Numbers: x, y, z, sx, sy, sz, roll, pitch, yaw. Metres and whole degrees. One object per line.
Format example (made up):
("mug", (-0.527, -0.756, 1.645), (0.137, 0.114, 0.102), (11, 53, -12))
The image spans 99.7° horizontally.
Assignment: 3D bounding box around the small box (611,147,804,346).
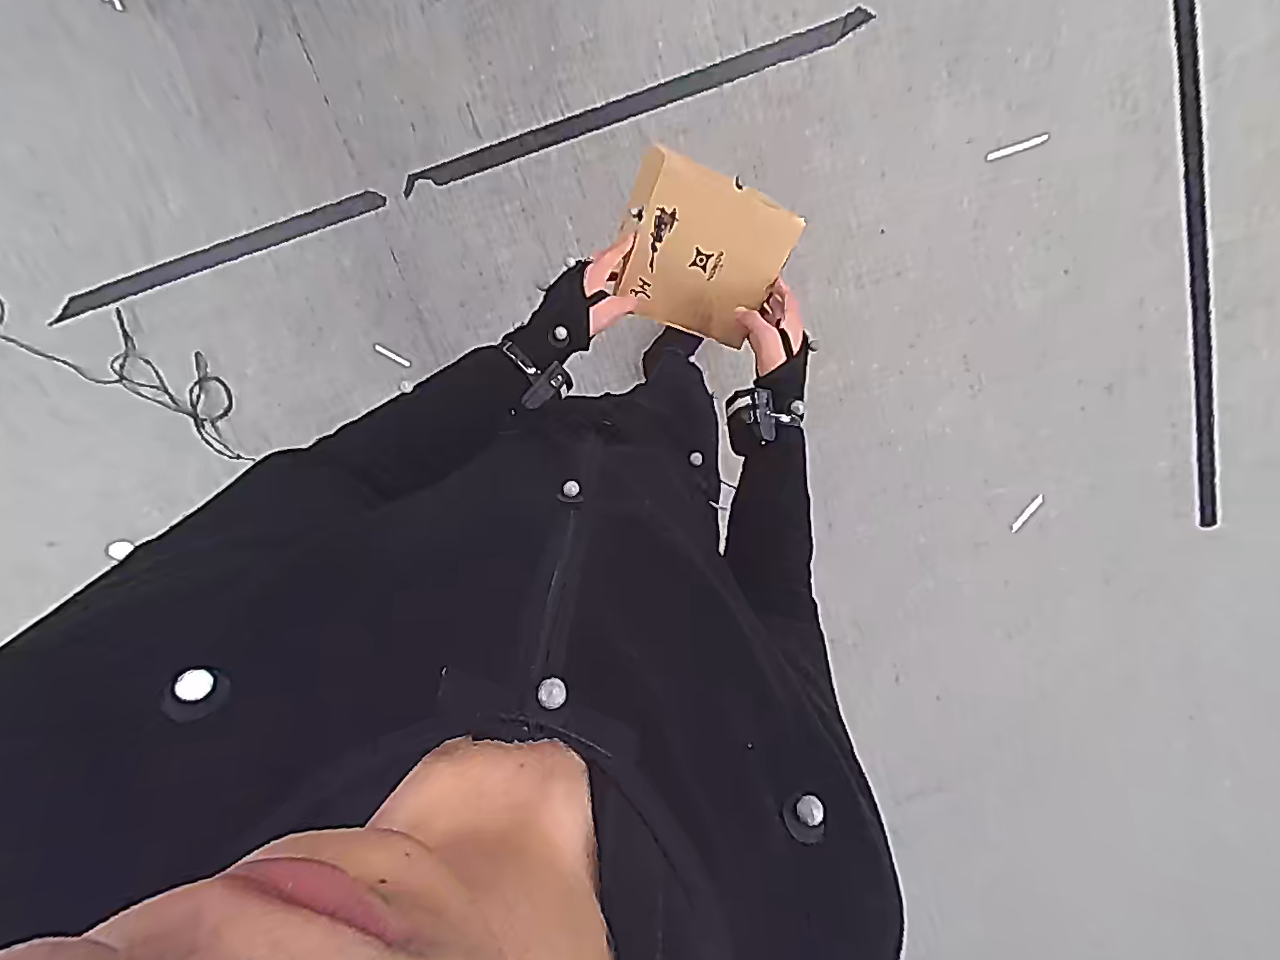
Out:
("small box", (0.072, -0.304, 0.696), (0.179, 0.176, 0.168), (15, 124, -17))
